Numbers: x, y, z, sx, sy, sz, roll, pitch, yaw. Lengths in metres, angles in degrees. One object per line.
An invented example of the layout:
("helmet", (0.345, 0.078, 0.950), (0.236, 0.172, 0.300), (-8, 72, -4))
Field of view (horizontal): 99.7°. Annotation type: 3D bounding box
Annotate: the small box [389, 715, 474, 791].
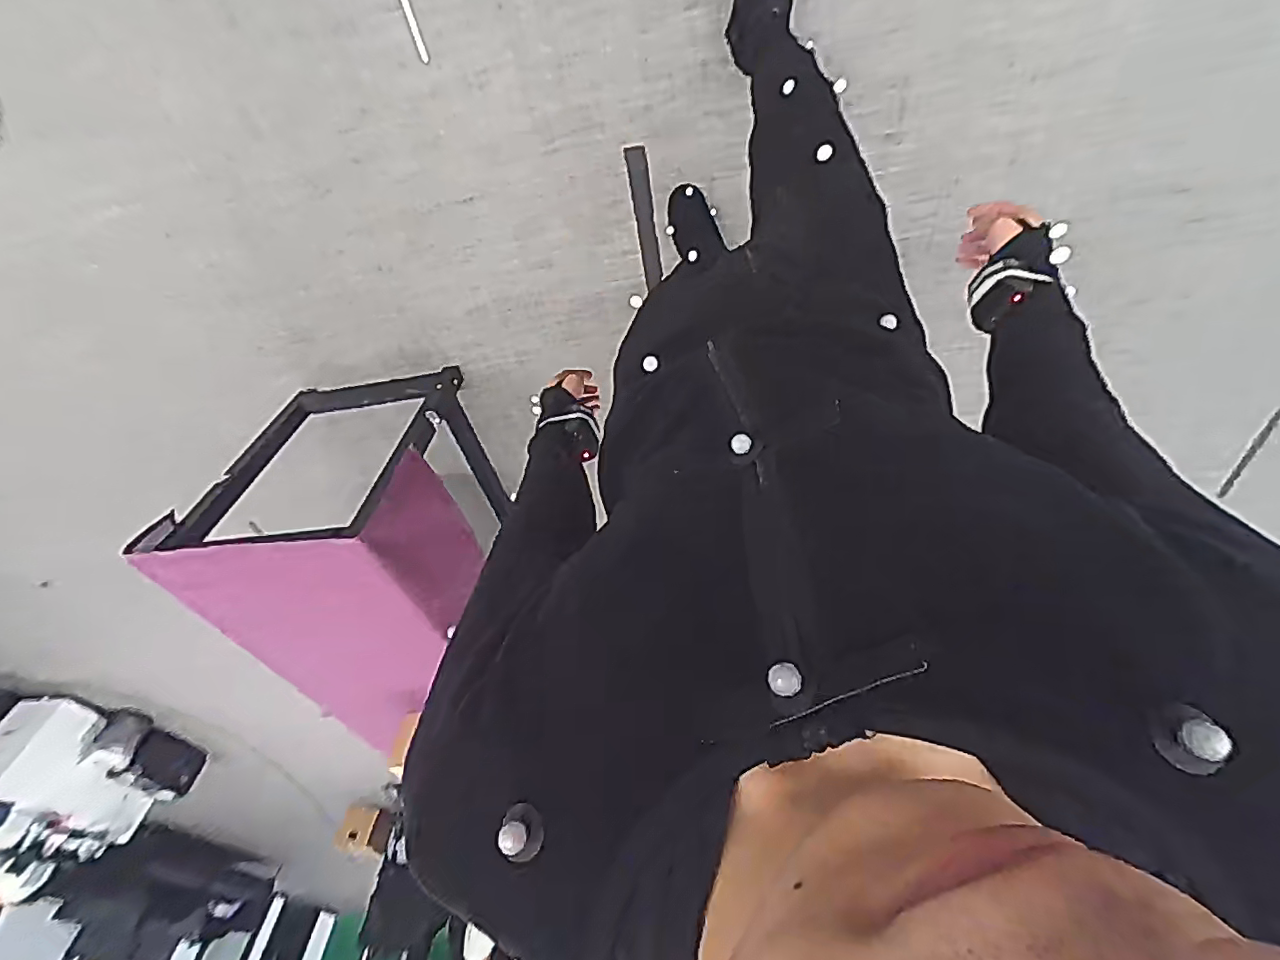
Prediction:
("small box", (-0.645, 0.859, 1.708), (0.179, 0.176, 0.168), (-13, 130, 17))
